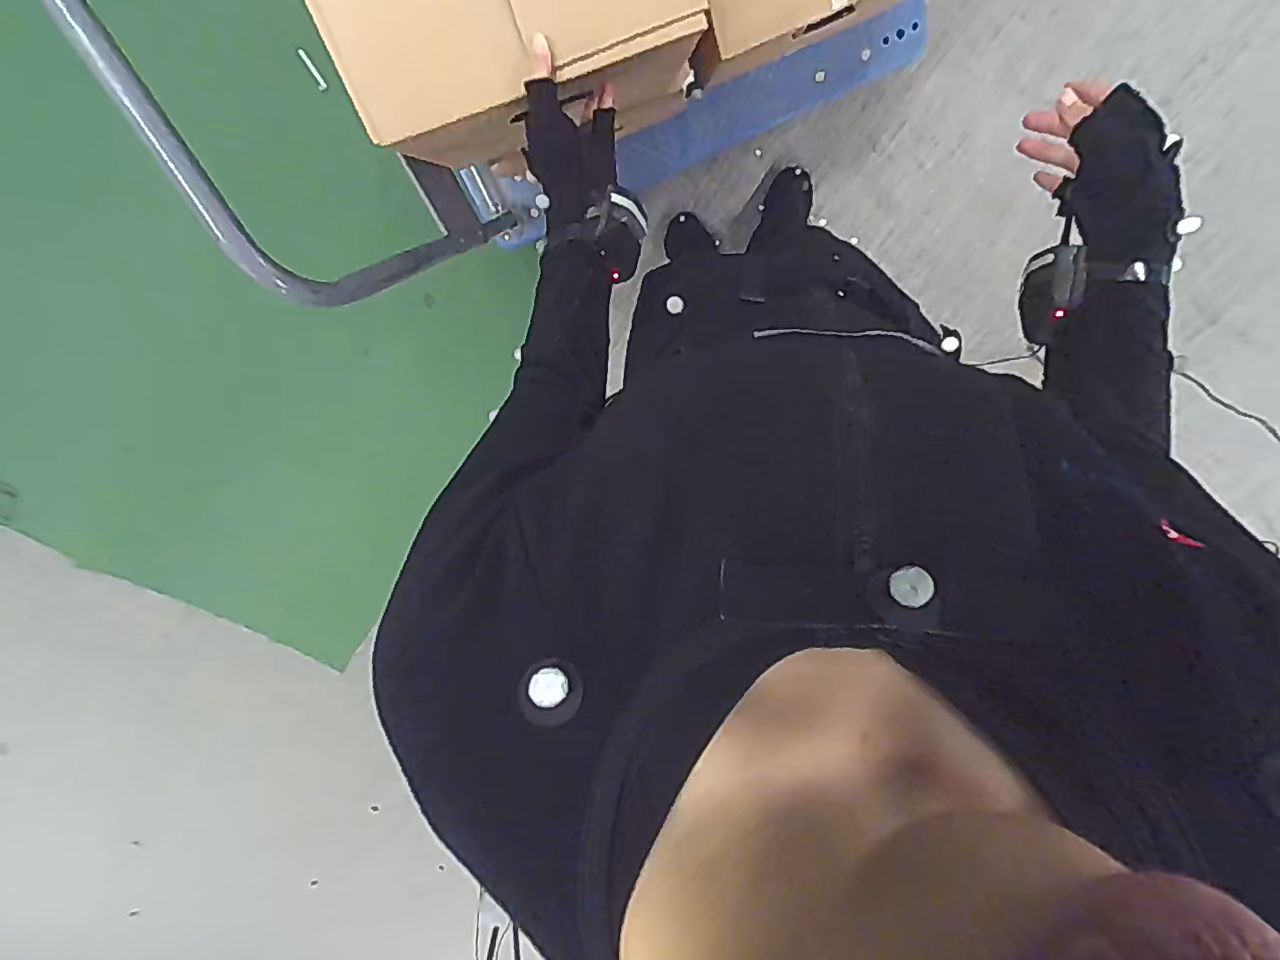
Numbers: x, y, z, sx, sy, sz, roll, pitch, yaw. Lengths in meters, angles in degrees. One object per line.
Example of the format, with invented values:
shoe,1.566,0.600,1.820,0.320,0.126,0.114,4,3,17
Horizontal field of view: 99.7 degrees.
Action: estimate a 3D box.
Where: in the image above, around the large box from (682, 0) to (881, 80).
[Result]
large box,0.184,-0.842,0.720,0.320,0.320,0.408,-17,119,12
